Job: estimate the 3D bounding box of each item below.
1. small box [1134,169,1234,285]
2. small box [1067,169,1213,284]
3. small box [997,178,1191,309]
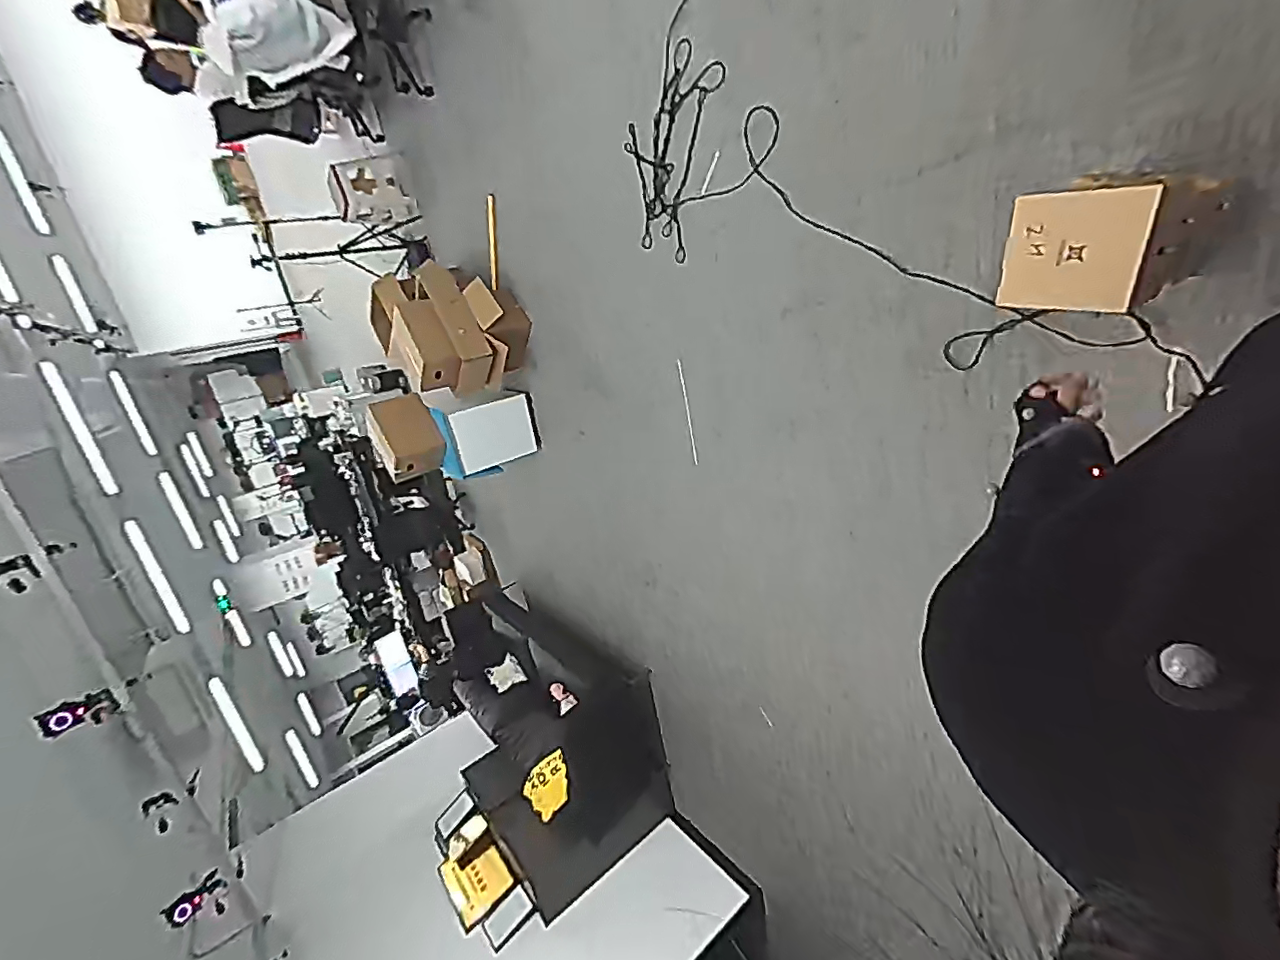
[{"bbox_3d":[0.956,-0.481,1.015,0.168,0.176,0.179,33,136,42],"label":"small box"},{"bbox_3d":[0.826,-0.427,0.936,0.168,0.176,0.179,39,138,39],"label":"small box"},{"bbox_3d":[0.703,-0.369,0.842,0.179,0.176,0.168,26,129,47],"label":"small box"}]
